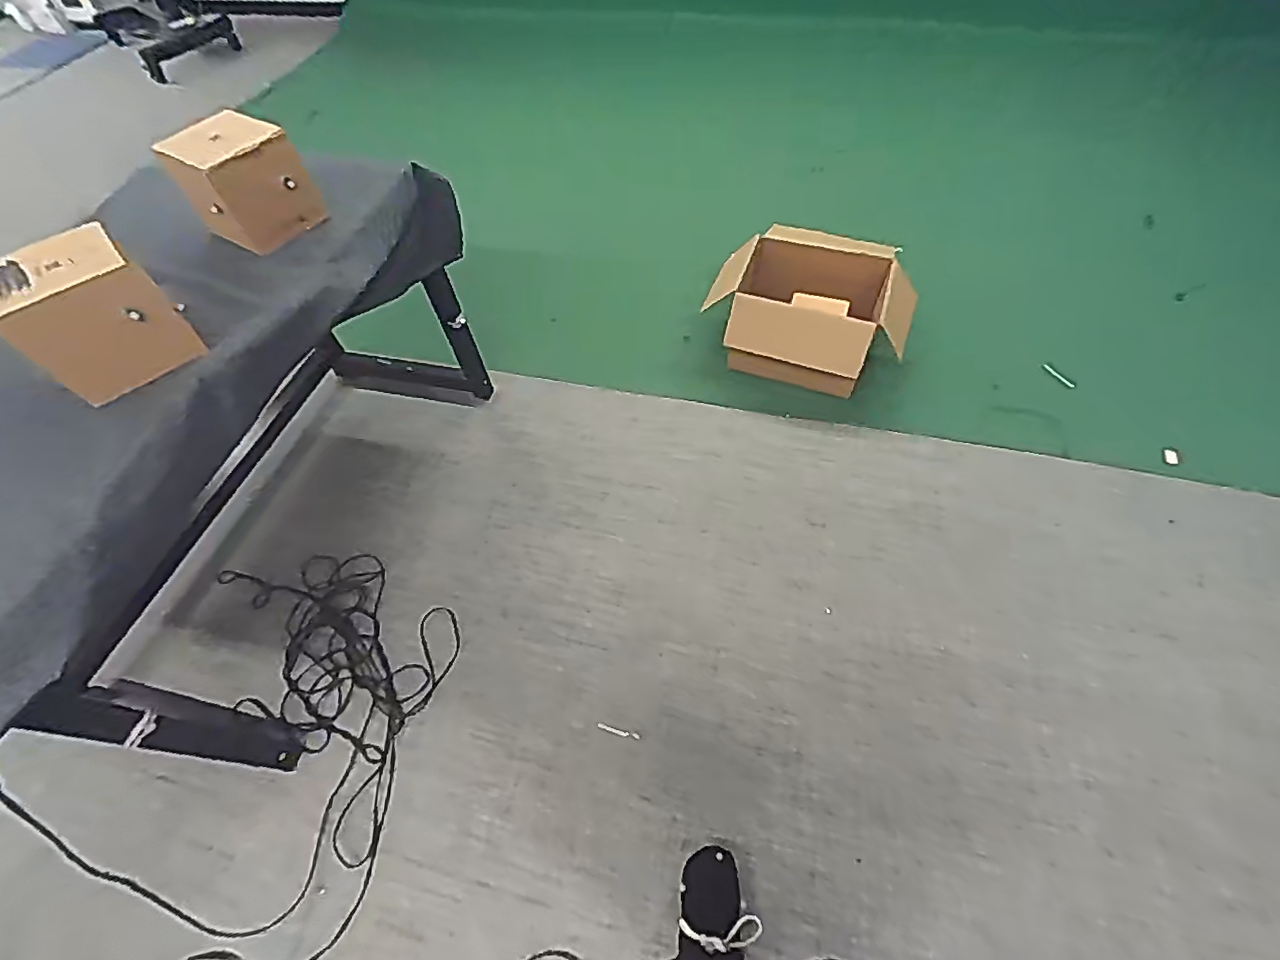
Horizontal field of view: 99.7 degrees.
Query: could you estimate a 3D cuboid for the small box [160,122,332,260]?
[{"bbox_3d":[-0.746,-0.553,1.044,0.179,0.176,0.168,26,60,21],"label":"small box"}]
